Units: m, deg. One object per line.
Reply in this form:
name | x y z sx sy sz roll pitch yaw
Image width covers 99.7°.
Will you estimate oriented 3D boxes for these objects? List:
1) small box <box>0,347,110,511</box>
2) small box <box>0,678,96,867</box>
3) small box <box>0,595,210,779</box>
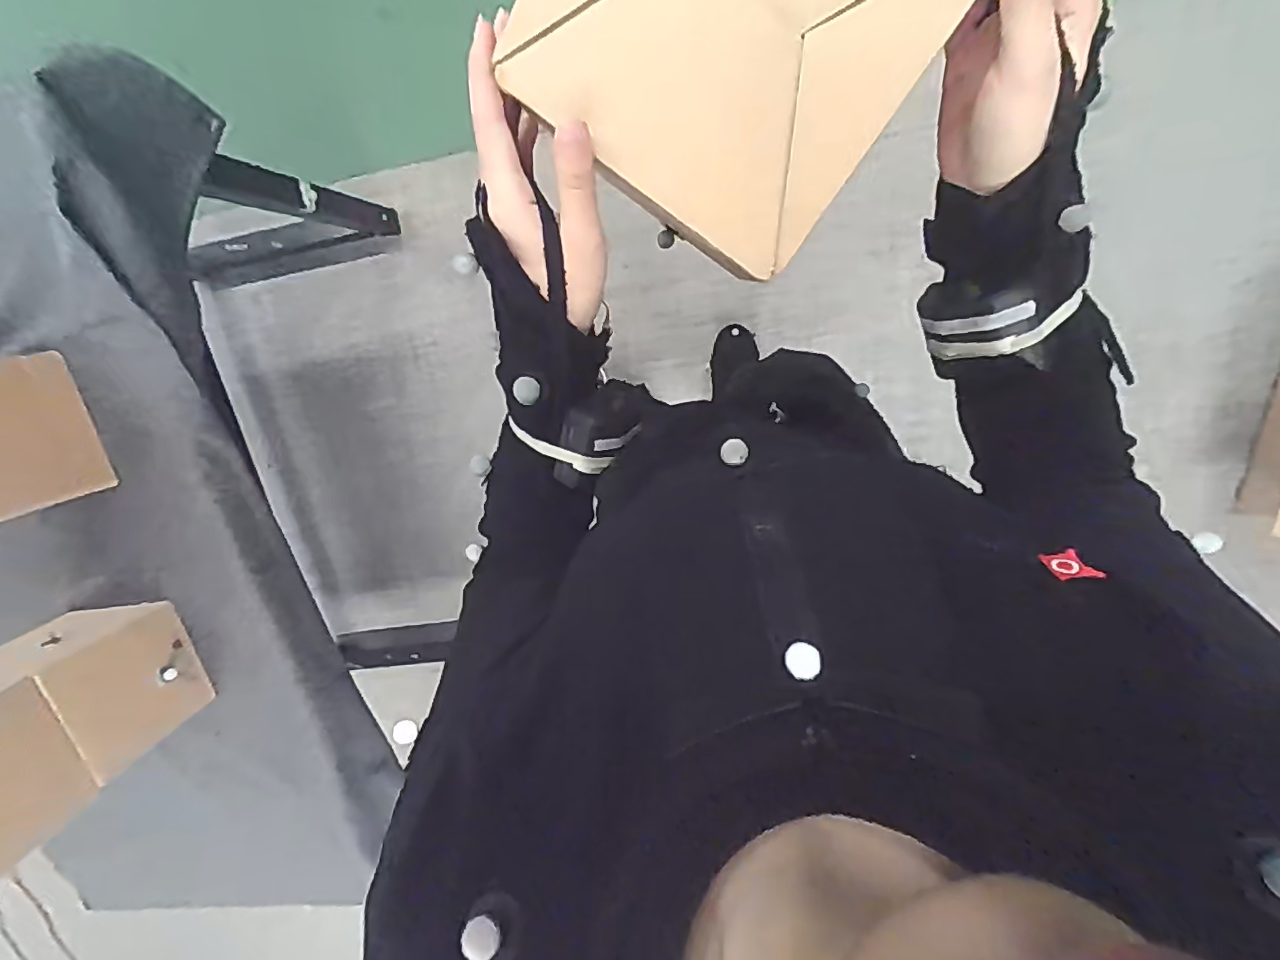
small box | -0.784 -0.050 0.621 0.168 0.176 0.179 -6 106 8
small box | -0.751 0.325 0.563 0.168 0.176 0.179 -9 108 10
small box | -0.737 0.270 0.716 0.179 0.176 0.168 -8 107 8
